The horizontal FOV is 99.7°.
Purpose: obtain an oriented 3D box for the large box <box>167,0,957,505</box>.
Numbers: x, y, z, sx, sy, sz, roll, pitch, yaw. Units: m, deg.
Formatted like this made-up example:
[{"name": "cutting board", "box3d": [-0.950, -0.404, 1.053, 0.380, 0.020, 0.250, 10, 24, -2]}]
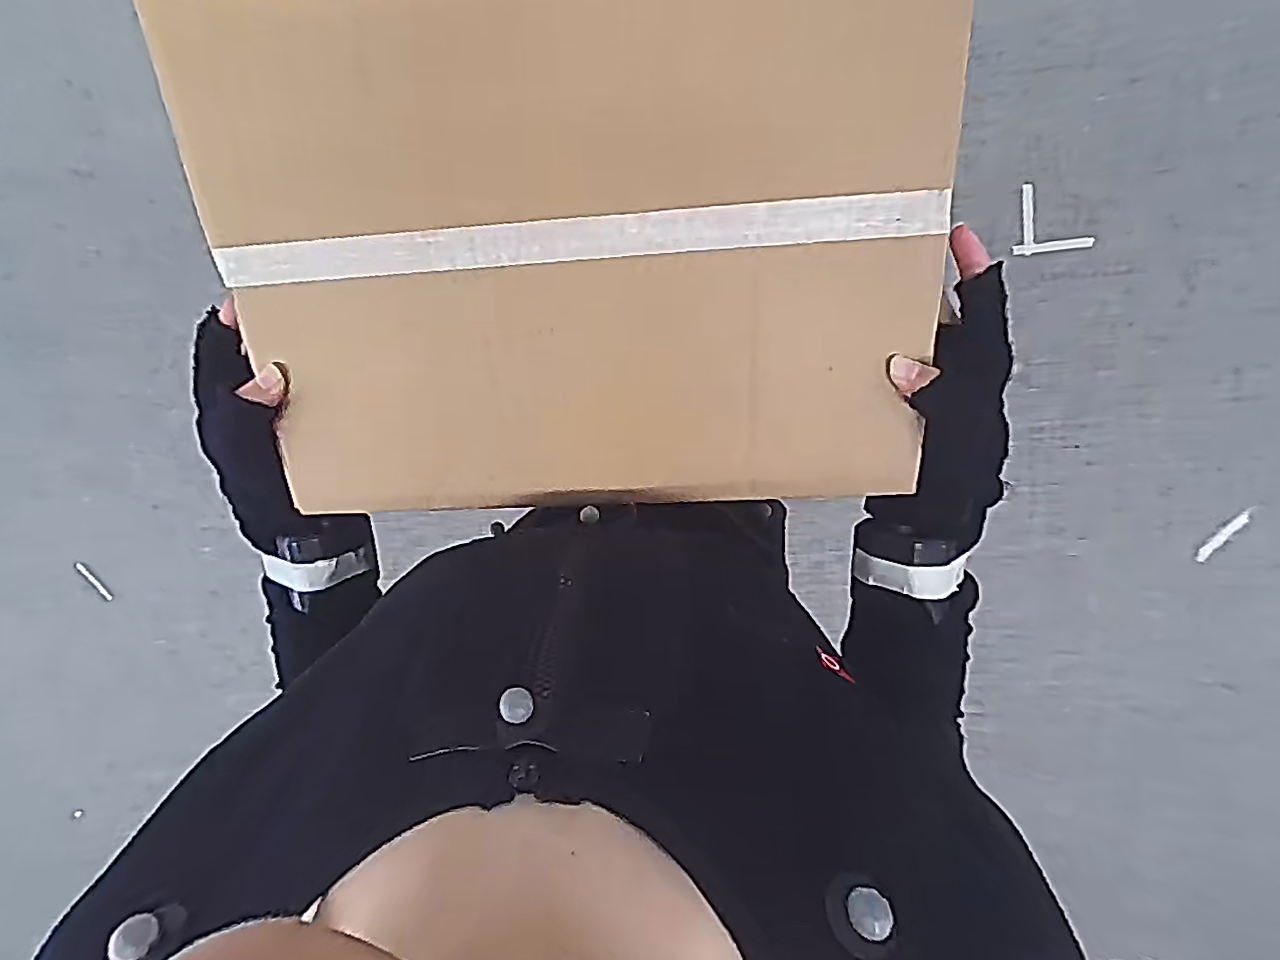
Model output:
[{"name": "large box", "box3d": [-0.031, -0.187, 0.446, 0.408, 0.320, 0.320, -2, 111, 4]}]
